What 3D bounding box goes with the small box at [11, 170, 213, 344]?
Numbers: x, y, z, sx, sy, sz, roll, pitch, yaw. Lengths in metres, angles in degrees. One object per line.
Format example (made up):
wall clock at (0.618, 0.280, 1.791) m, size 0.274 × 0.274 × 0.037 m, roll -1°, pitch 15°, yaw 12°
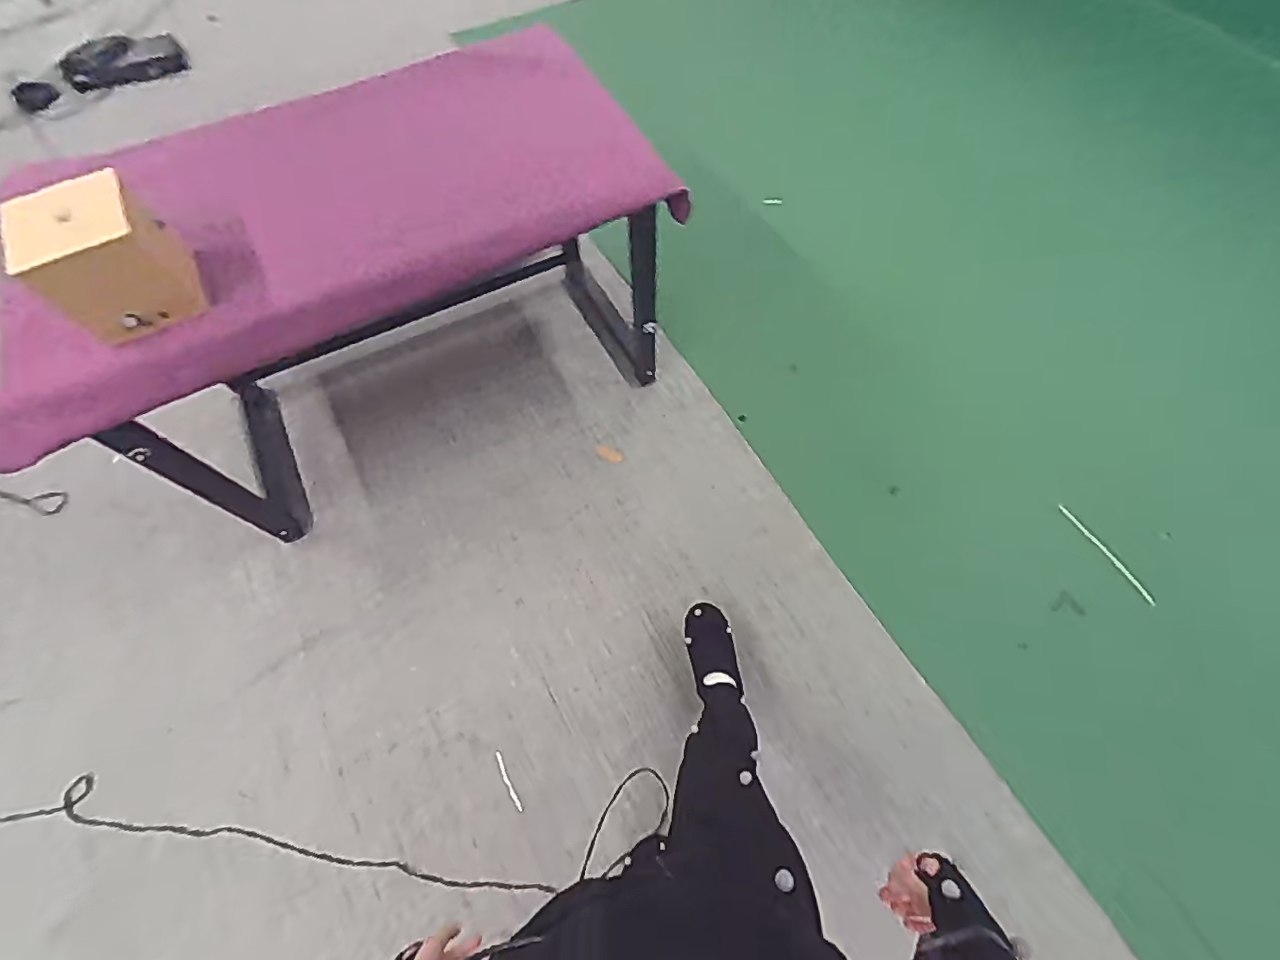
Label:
small box at (-0.852, -0.359, 0.885) m, size 0.168 × 0.176 × 0.179 m, roll -27°, pitch 67°, yaw -12°
